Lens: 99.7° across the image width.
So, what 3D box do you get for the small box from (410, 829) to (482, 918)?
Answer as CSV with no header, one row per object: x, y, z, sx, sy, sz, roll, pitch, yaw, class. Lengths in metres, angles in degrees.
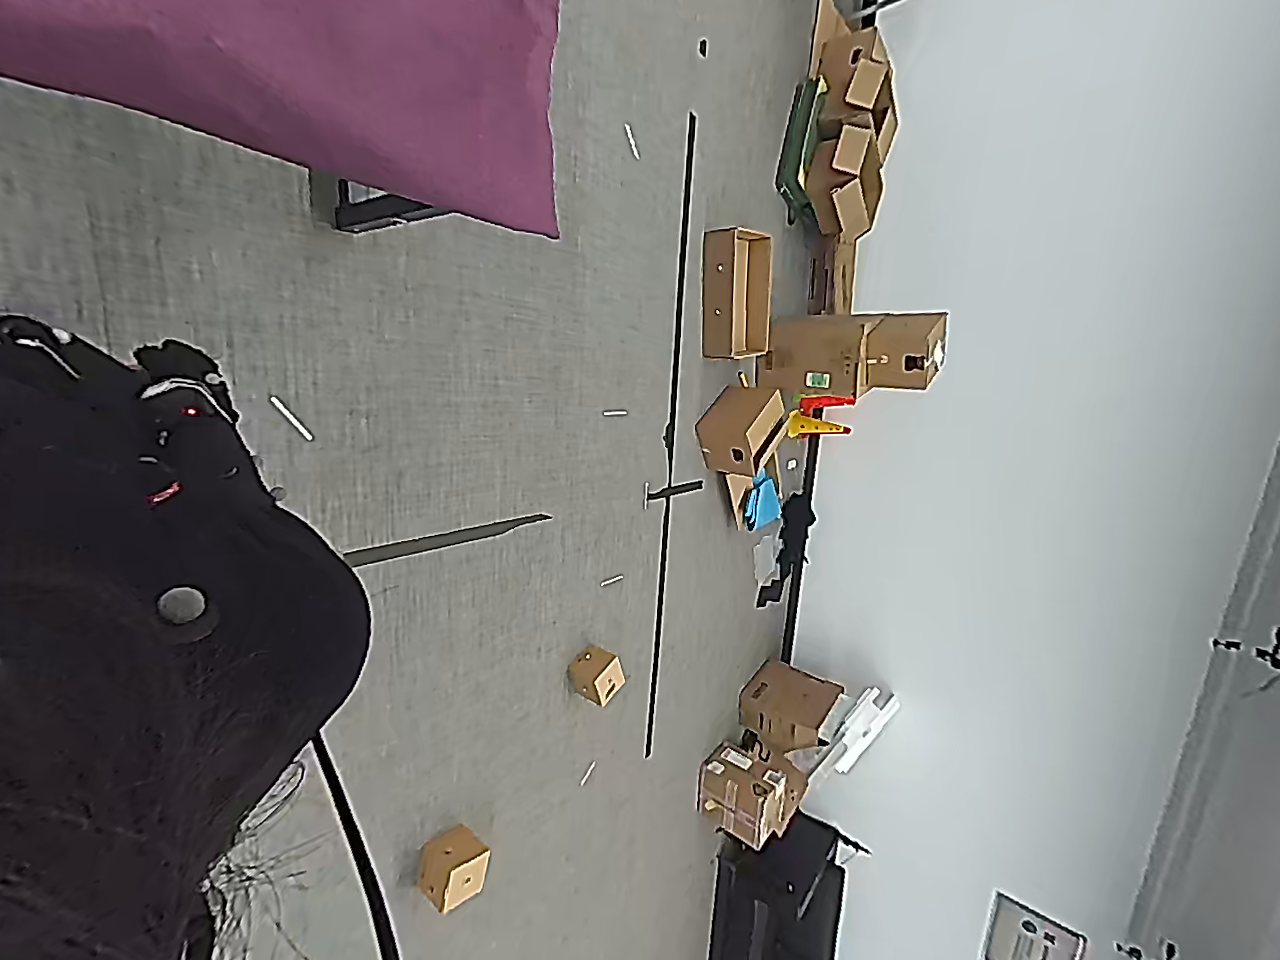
-0.715,1.435,1.982,0.179,0.176,0.168,10,94,-55,small box

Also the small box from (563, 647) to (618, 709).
-0.226,0.897,2.465,0.168,0.176,0.179,-39,129,-40,small box
